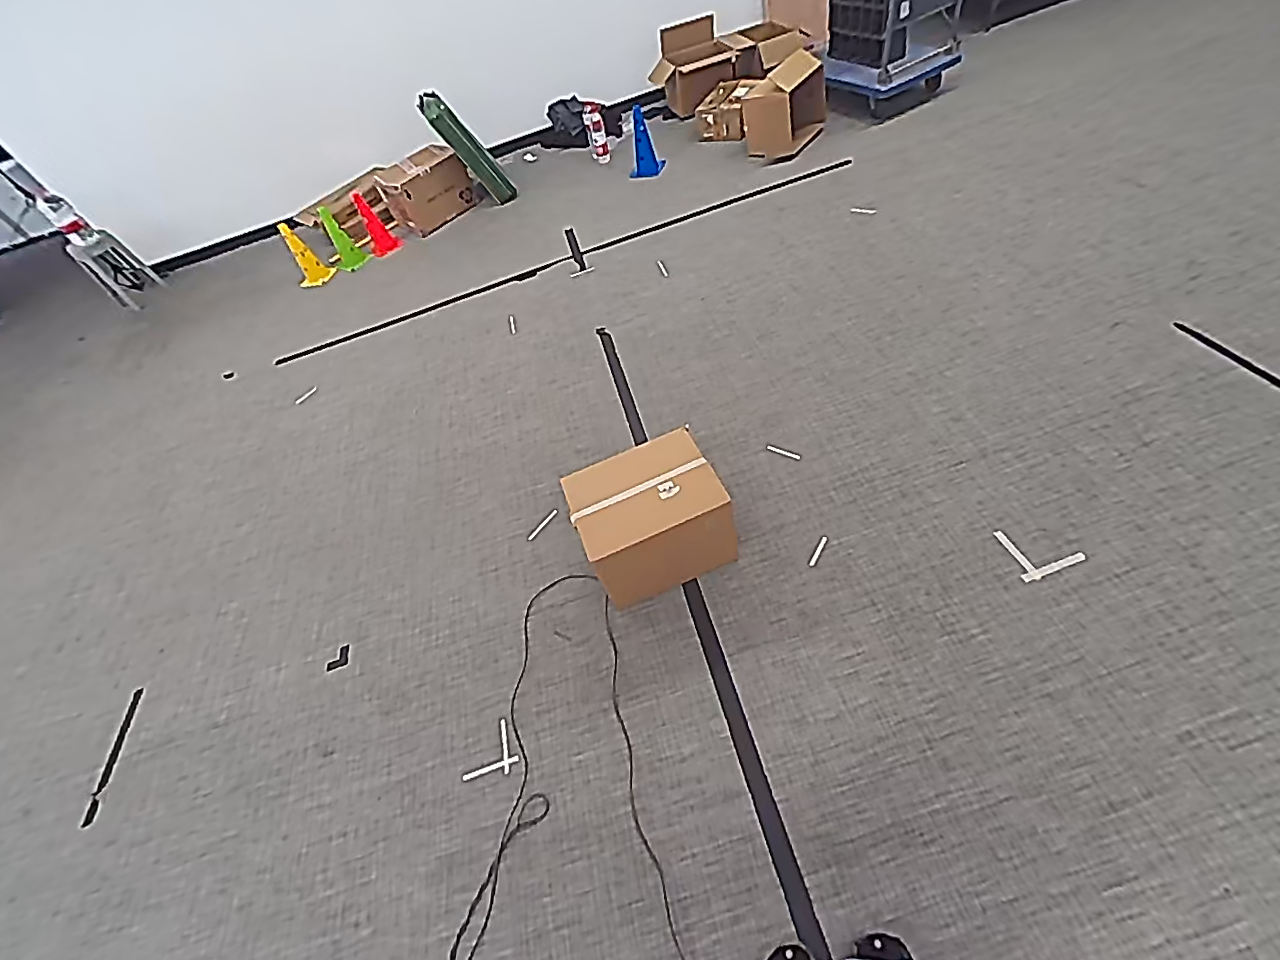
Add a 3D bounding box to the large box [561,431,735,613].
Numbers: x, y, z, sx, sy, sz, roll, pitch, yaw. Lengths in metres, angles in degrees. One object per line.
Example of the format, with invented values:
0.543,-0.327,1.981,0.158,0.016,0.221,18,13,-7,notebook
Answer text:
0.029,0.128,1.604,0.408,0.320,0.320,-23,51,-5,large box
